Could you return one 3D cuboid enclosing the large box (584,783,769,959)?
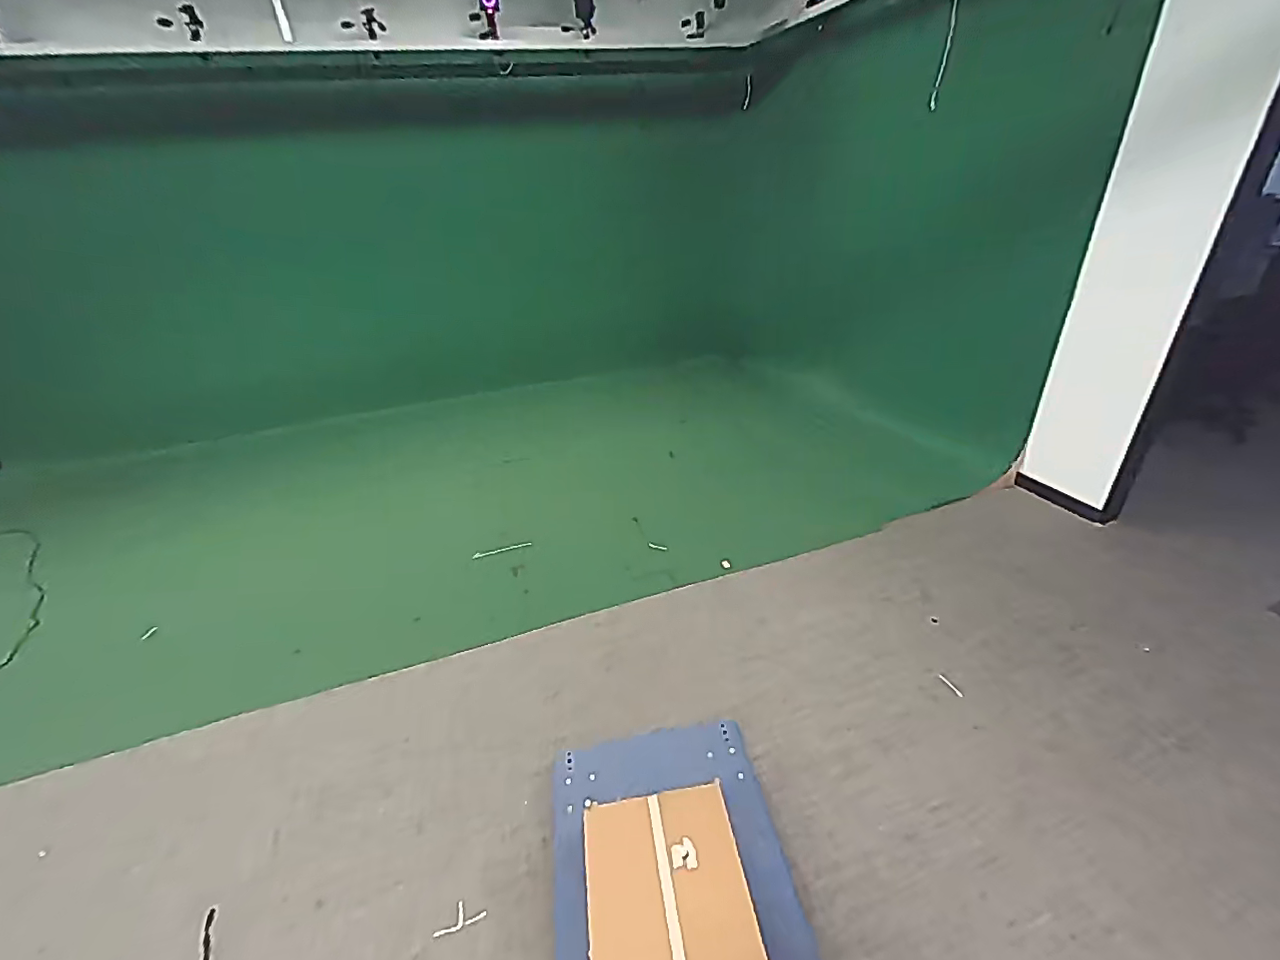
[{"bbox_3d":[0.068,0.938,1.124,0.320,0.320,0.408,-7,28,-5],"label":"large box"}]
